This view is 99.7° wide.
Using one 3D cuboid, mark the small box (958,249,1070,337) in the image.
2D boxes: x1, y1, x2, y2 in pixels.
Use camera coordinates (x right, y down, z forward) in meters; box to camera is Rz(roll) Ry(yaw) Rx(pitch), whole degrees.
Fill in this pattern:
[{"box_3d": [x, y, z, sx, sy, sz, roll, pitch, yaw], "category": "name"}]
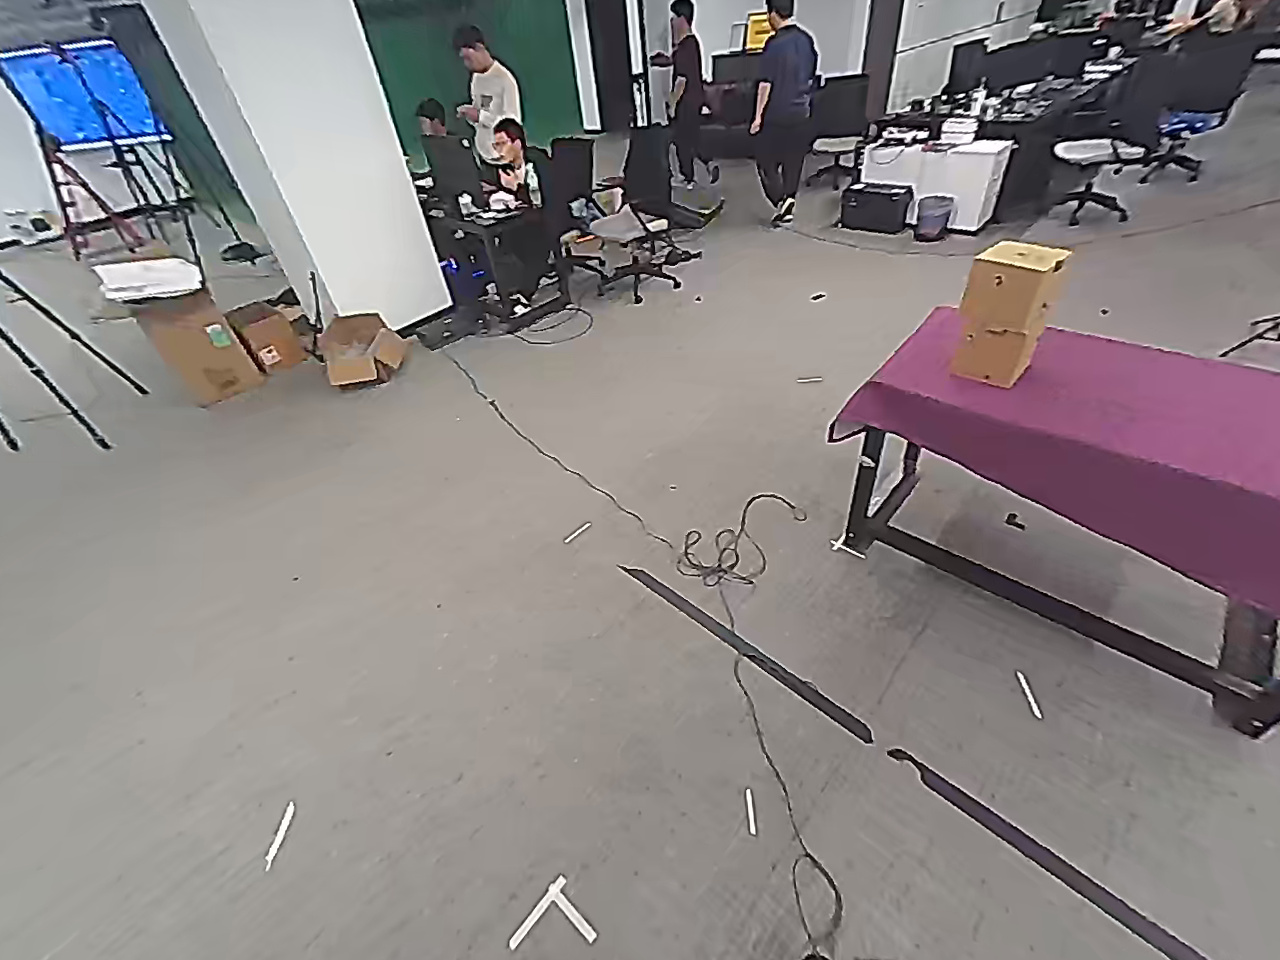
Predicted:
[{"box_3d": [1.004, -0.508, 1.468, 0.168, 0.176, 0.179, -31, 46, -25], "category": "small box"}]
